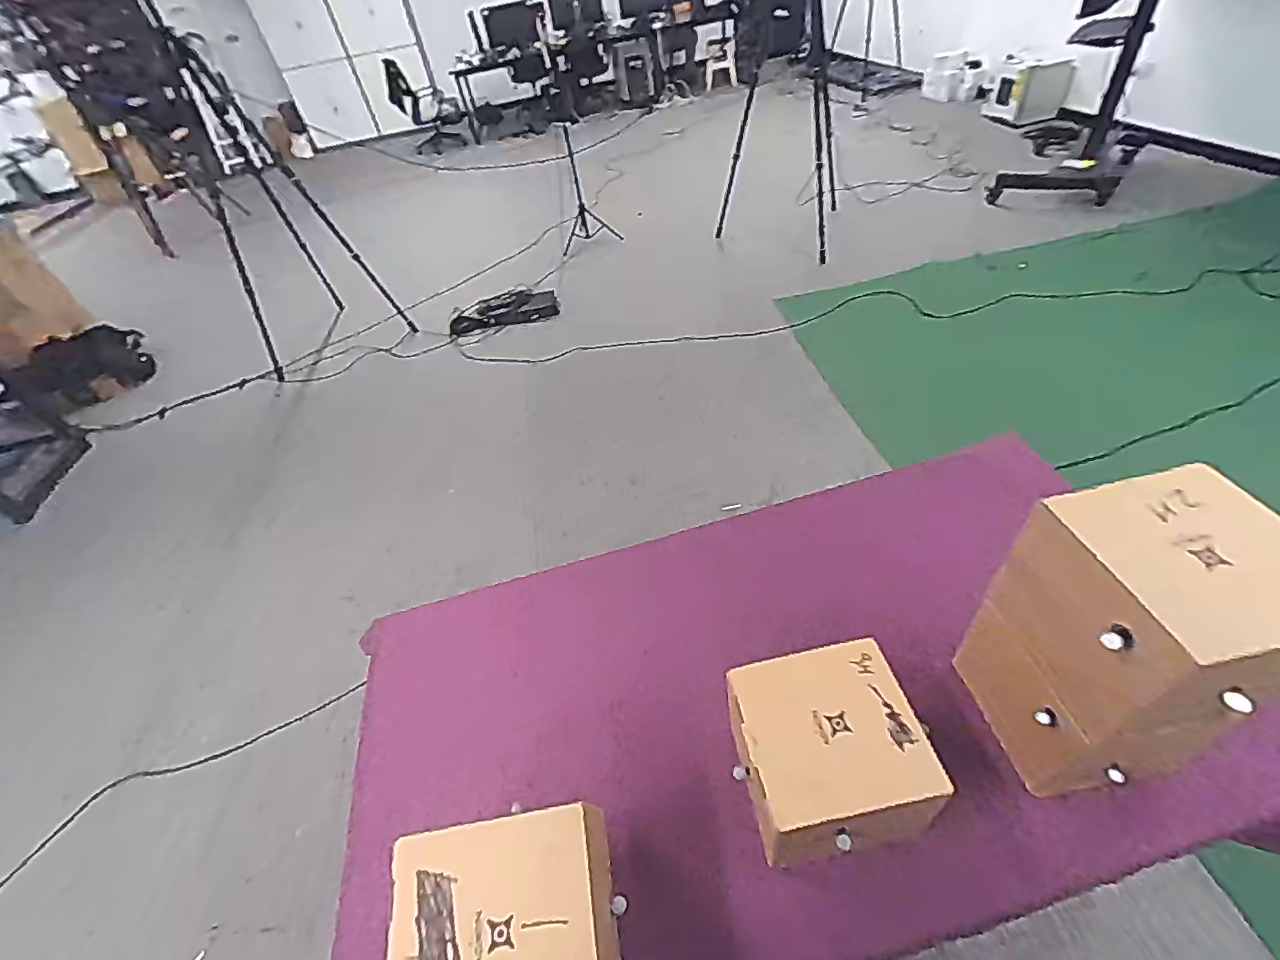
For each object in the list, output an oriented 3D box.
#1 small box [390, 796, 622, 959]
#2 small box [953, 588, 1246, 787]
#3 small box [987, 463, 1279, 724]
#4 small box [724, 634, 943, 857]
[{"bbox_3d":[-0.118,0.418,0.521,0.179,0.176,0.168,-9,57,-3],"label":"small box"},{"bbox_3d":[0.508,0.231,0.639,0.168,0.176,0.179,-12,45,0],"label":"small box"},{"bbox_3d":[0.485,0.115,0.524,0.168,0.176,0.179,-12,44,-1],"label":"small box"},{"bbox_3d":[0.207,0.308,0.623,0.179,0.176,0.168,-13,44,0],"label":"small box"}]
